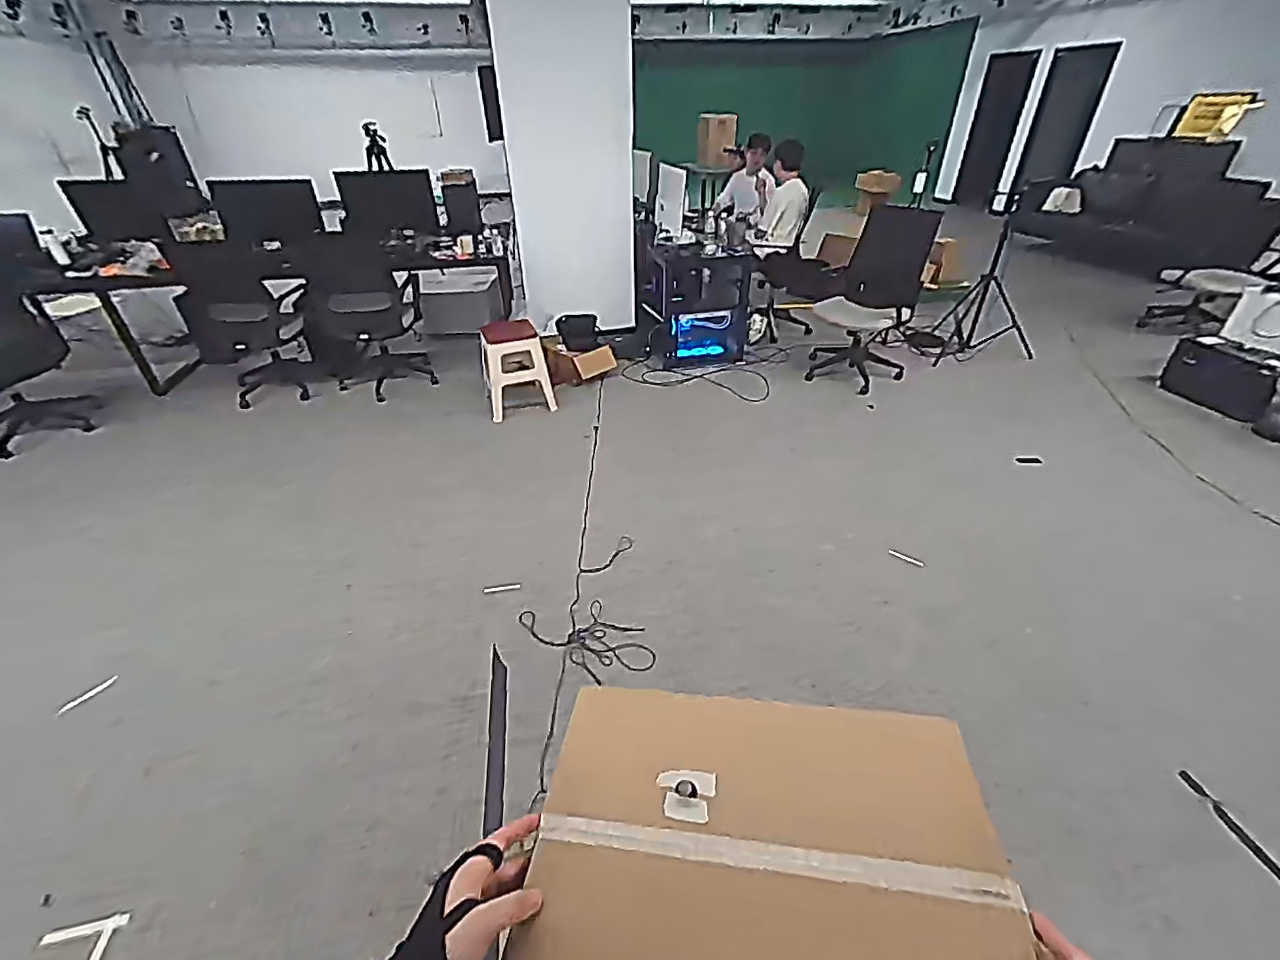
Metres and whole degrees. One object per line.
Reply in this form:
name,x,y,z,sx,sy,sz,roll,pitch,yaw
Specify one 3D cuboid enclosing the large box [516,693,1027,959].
large box,0.124,0.458,0.568,0.408,0.320,0.320,0,34,11
